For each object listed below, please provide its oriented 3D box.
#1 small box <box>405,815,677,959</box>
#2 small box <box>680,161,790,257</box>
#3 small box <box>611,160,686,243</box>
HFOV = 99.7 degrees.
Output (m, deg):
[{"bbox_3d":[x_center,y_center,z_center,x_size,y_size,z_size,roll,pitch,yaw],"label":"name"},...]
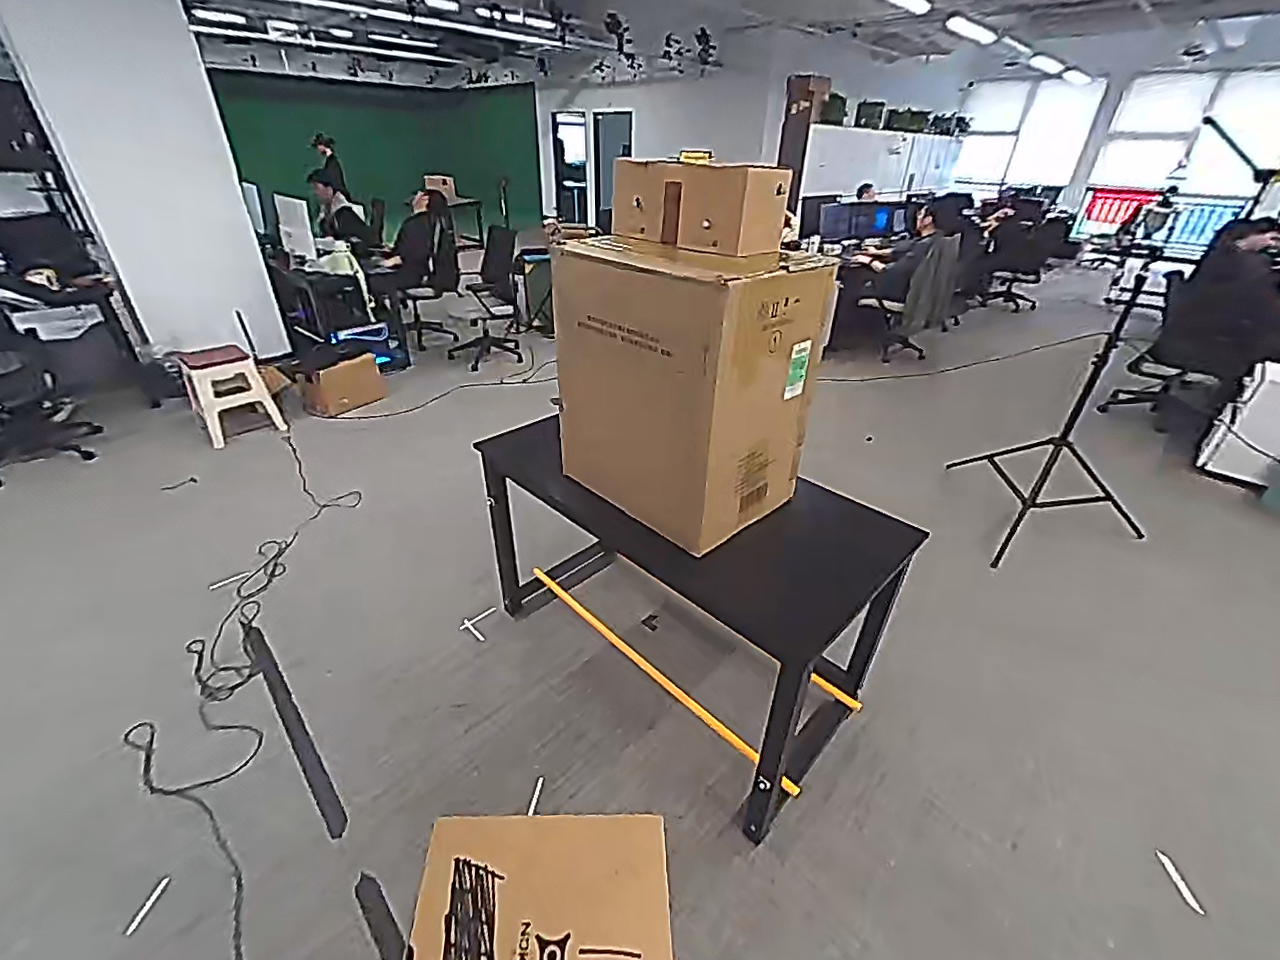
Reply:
[{"bbox_3d":[-0.066,0.370,0.393,0.179,0.176,0.168,1,36,-4],"label":"small box"},{"bbox_3d":[0.201,-0.593,1.182,0.168,0.176,0.179,26,38,35],"label":"small box"},{"bbox_3d":[0.046,-0.682,1.322,0.168,0.176,0.179,26,39,33],"label":"small box"}]
